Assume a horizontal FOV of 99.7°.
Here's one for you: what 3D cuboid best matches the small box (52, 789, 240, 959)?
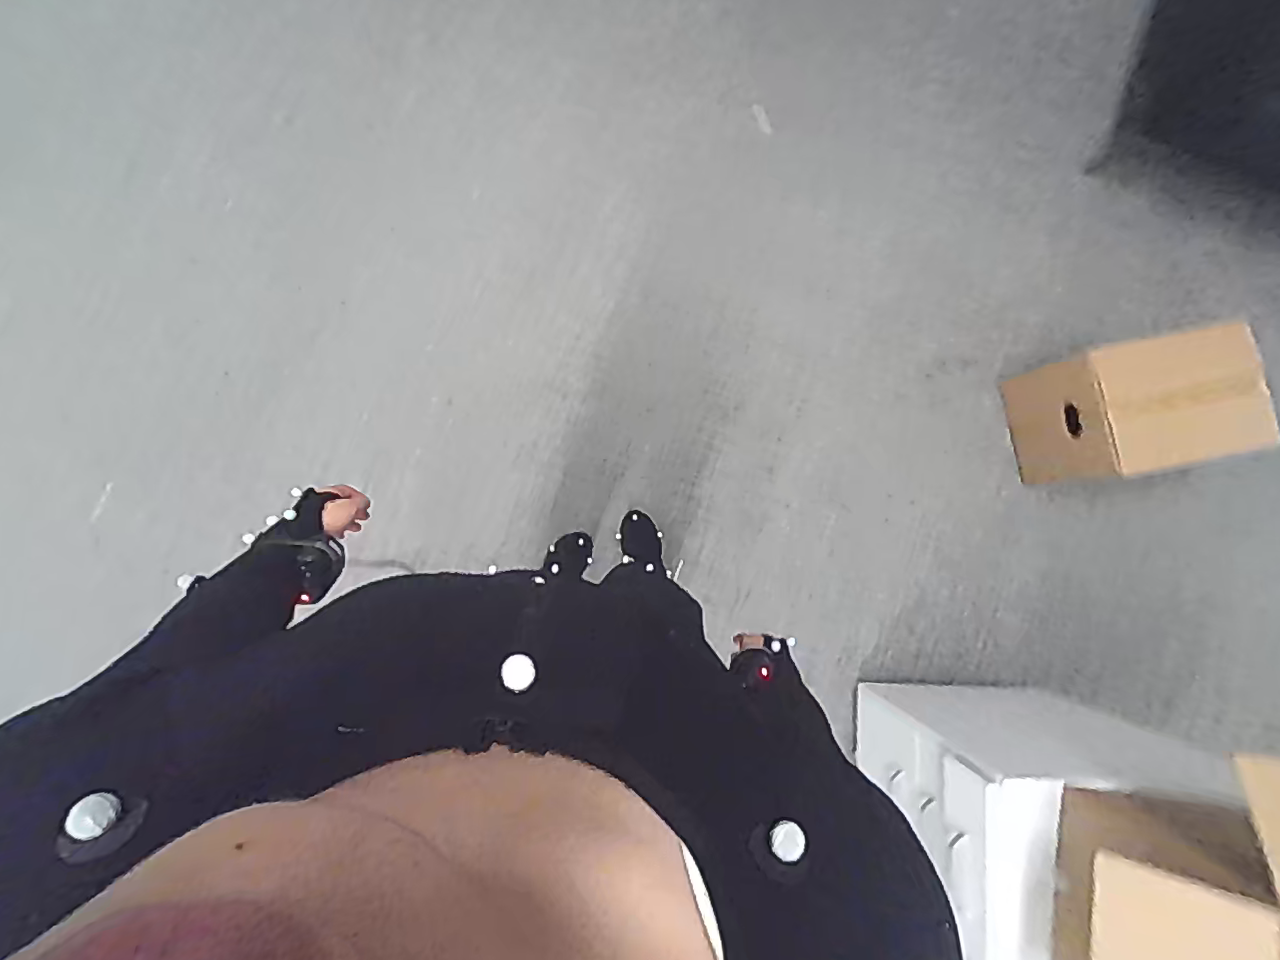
[{"bbox_3d":[-0.889,0.713,0.995,0.168,0.176,0.179,16,84,-1],"label":"small box"}]
